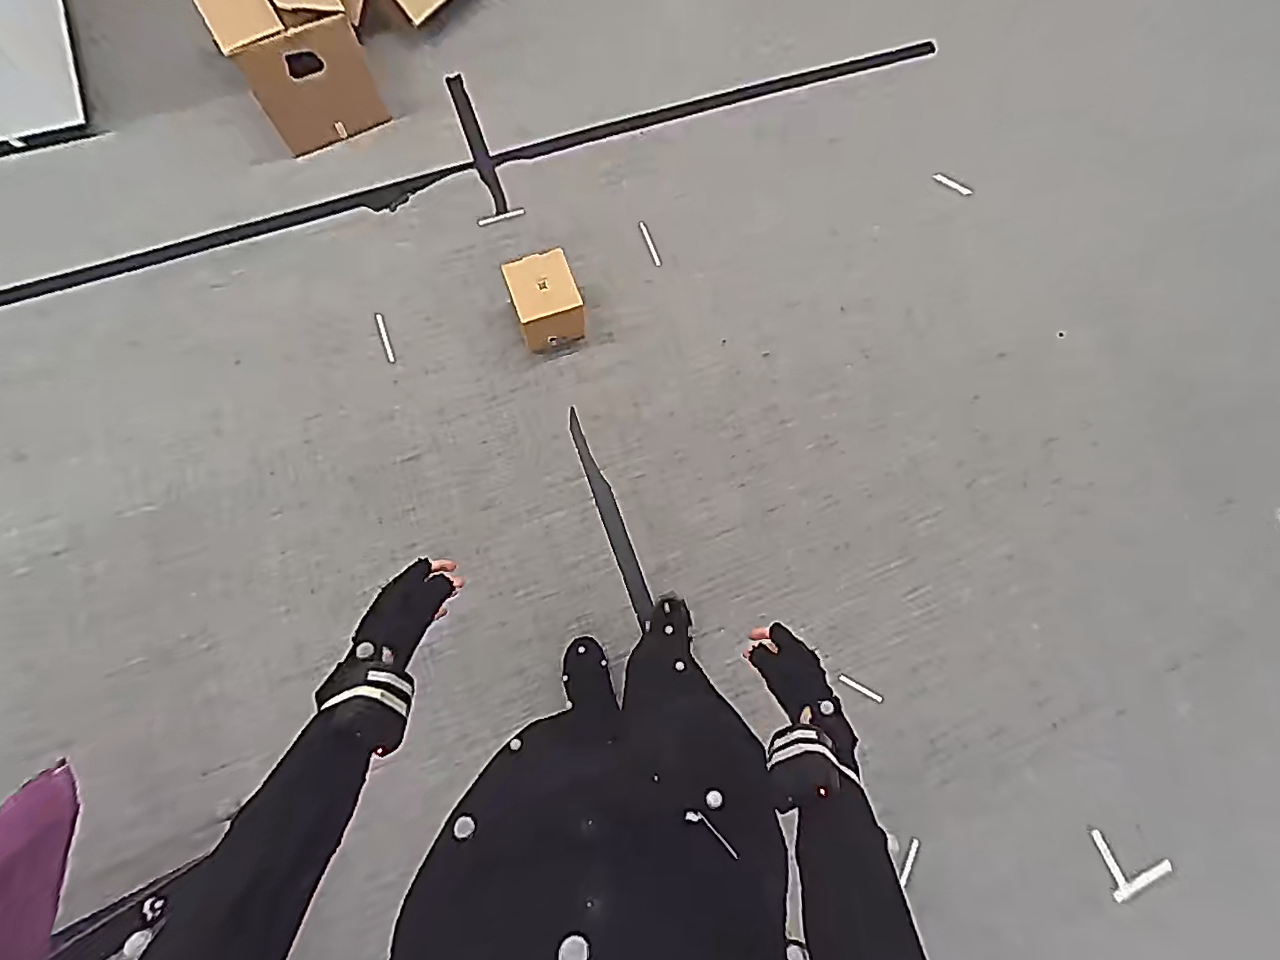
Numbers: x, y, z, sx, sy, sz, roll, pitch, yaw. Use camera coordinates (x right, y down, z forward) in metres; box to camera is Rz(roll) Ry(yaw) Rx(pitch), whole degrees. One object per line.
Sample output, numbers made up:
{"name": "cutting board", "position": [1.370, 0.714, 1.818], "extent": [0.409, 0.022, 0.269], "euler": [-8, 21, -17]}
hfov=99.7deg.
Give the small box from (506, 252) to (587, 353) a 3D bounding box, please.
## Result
{"name": "small box", "position": [-0.247, -0.472, 1.455], "extent": [0.168, 0.176, 0.179], "euler": [-20, 80, -7]}
